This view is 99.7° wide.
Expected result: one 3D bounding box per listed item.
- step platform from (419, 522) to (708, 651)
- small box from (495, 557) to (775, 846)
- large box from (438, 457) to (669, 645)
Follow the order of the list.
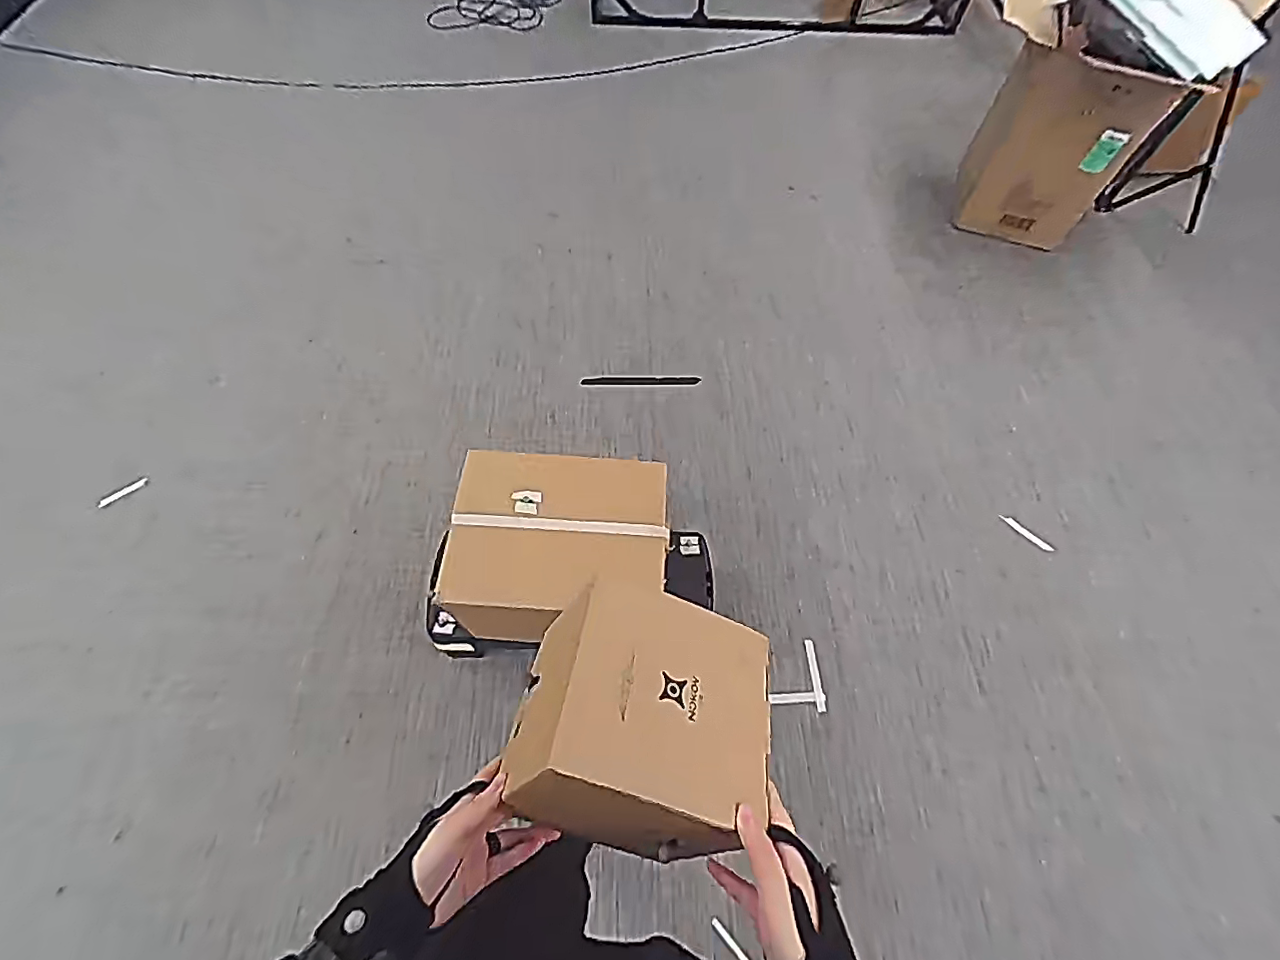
[{"bbox_3d":[-0.175,0.289,1.339,0.684,0.204,0.286,5,62,2],"label":"step platform"},{"bbox_3d":[-0.003,0.203,0.477,0.179,0.176,0.168,26,44,-11],"label":"small box"},{"bbox_3d":[-0.147,0.166,1.134,0.408,0.320,0.320,3,61,1],"label":"large box"}]
